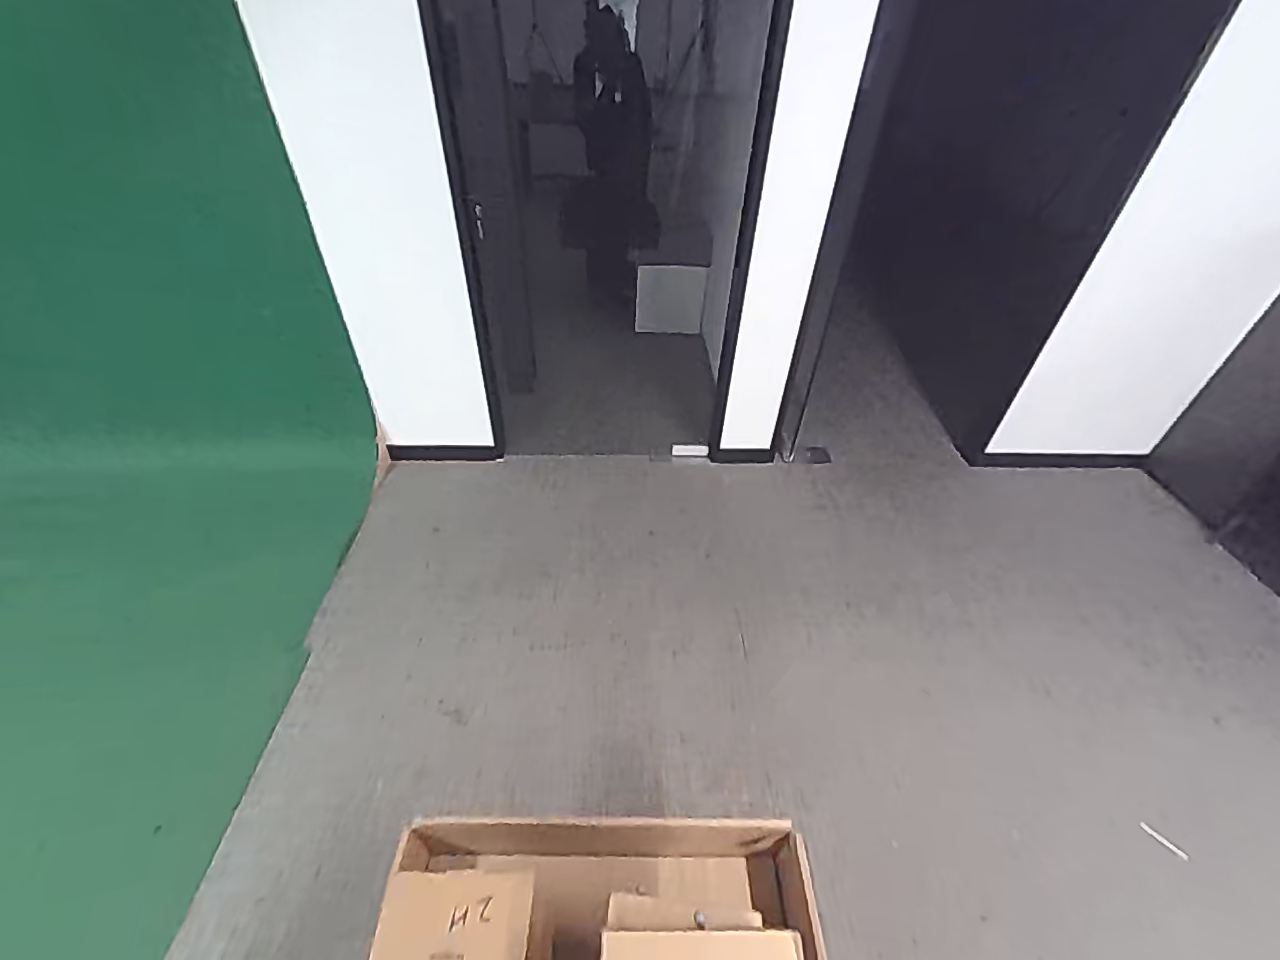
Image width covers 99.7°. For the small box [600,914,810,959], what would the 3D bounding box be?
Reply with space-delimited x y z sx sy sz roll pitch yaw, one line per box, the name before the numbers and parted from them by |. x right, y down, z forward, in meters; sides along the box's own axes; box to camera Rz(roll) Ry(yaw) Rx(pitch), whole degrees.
small box | 0.051 0.493 0.479 0.179 0.176 0.168 3 50 -2

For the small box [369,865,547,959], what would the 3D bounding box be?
small box | -0.201 0.563 0.611 0.168 0.176 0.179 1 41 -1
